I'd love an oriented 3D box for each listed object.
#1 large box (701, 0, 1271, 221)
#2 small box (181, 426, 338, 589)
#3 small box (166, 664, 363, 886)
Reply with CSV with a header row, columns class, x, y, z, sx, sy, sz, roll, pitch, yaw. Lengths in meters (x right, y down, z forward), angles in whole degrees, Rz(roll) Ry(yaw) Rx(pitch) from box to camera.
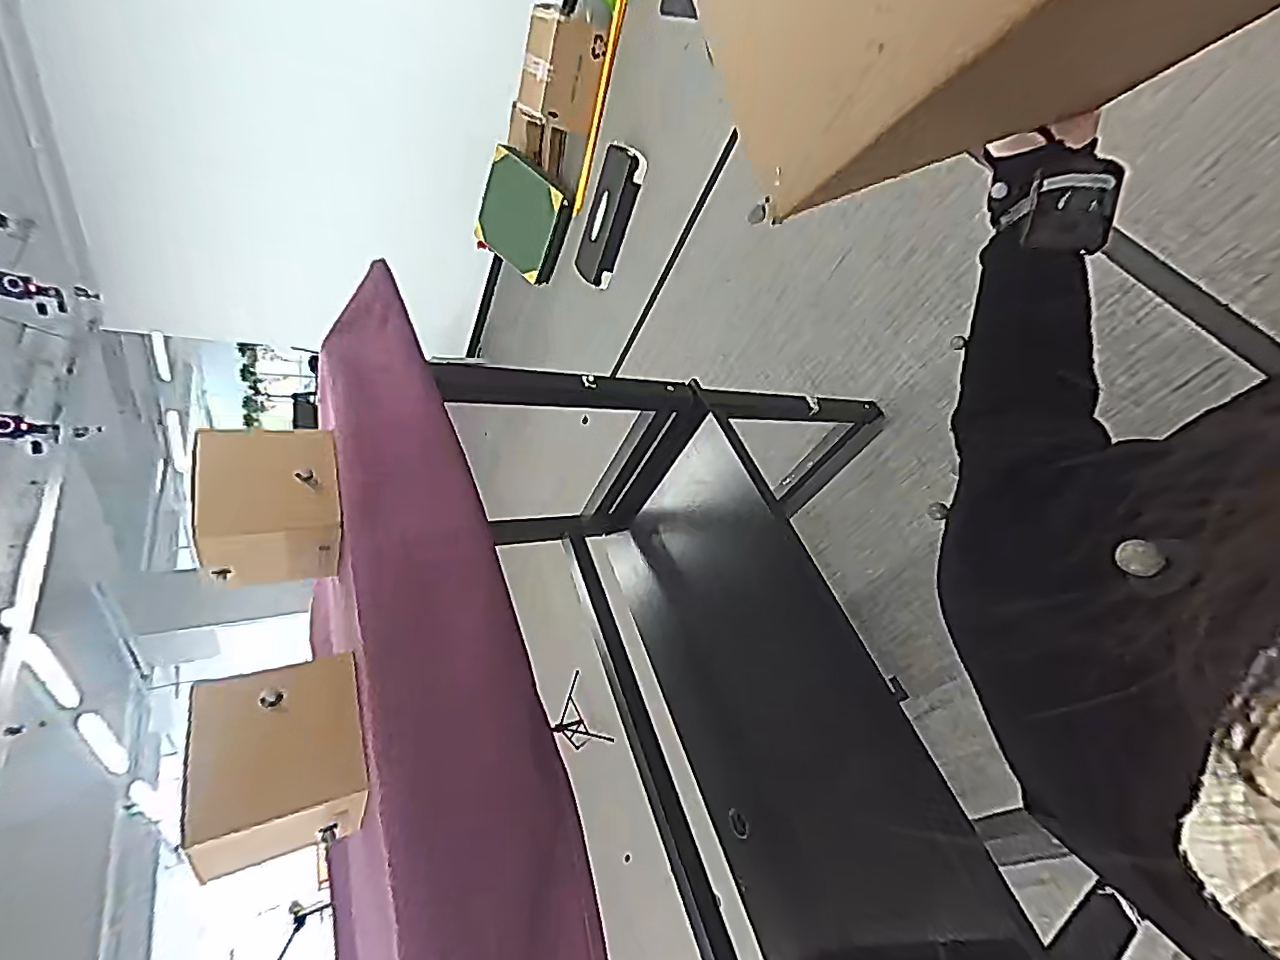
class,x,y,z,sx,sy,sz,roll,pitch,yaw
large box,0.219,-0.365,0.186,0.408,0.320,0.320,-159,47,-77
small box,-0.550,0.040,0.795,0.168,0.176,0.179,-52,50,45
small box,-0.442,0.341,0.652,0.179,0.176,0.168,61,139,34
